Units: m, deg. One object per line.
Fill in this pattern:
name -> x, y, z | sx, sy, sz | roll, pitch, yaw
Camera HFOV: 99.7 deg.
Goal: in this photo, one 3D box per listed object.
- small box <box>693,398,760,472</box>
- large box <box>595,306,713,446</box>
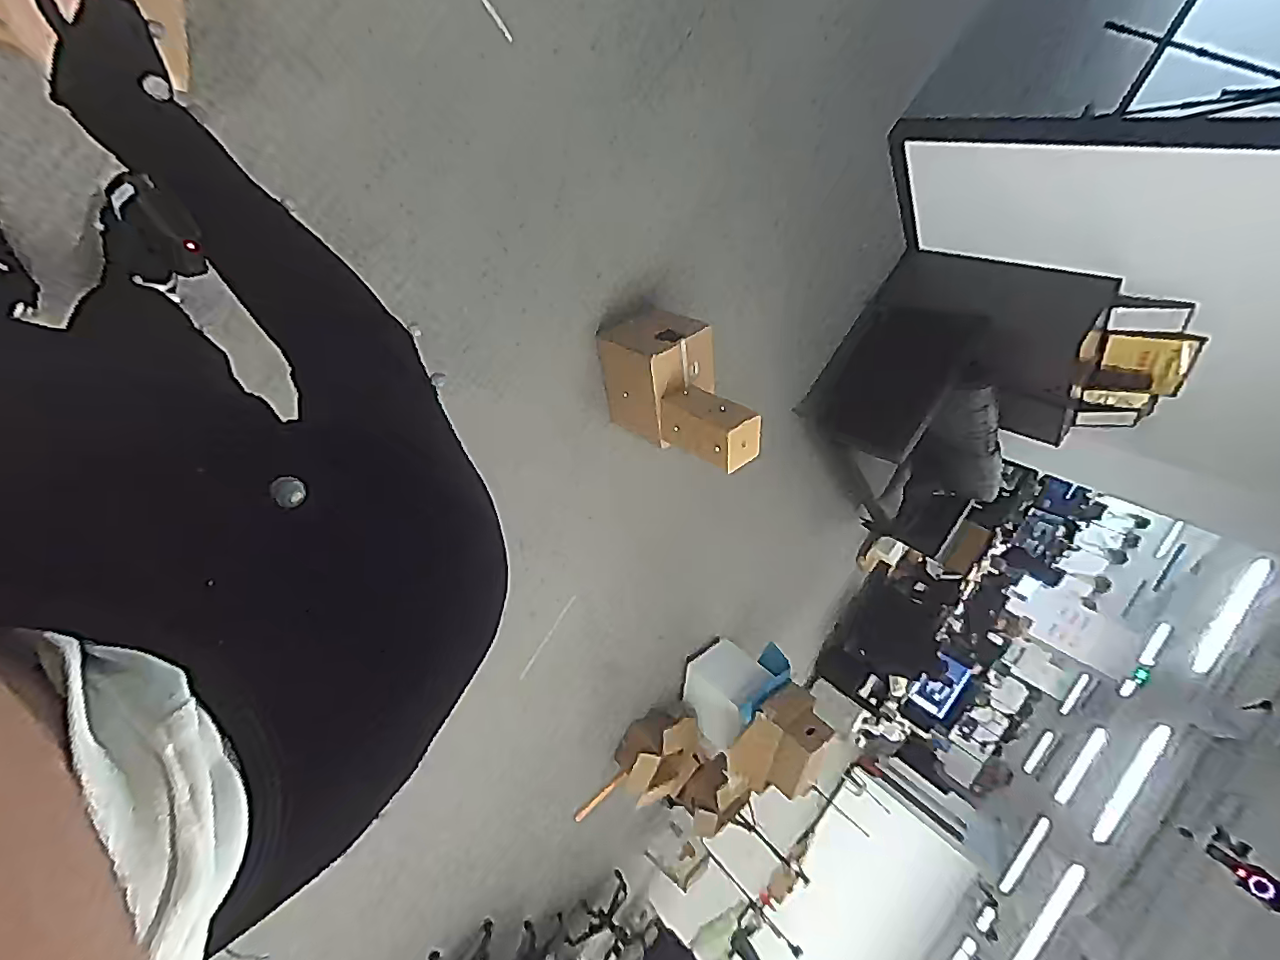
small box -> 0.298, -0.161, 1.893 | 0.168, 0.176, 0.179 | -31, 133, -28
large box -> 0.063, -0.414, 2.129 | 0.320, 0.320, 0.408 | -36, 136, -27
